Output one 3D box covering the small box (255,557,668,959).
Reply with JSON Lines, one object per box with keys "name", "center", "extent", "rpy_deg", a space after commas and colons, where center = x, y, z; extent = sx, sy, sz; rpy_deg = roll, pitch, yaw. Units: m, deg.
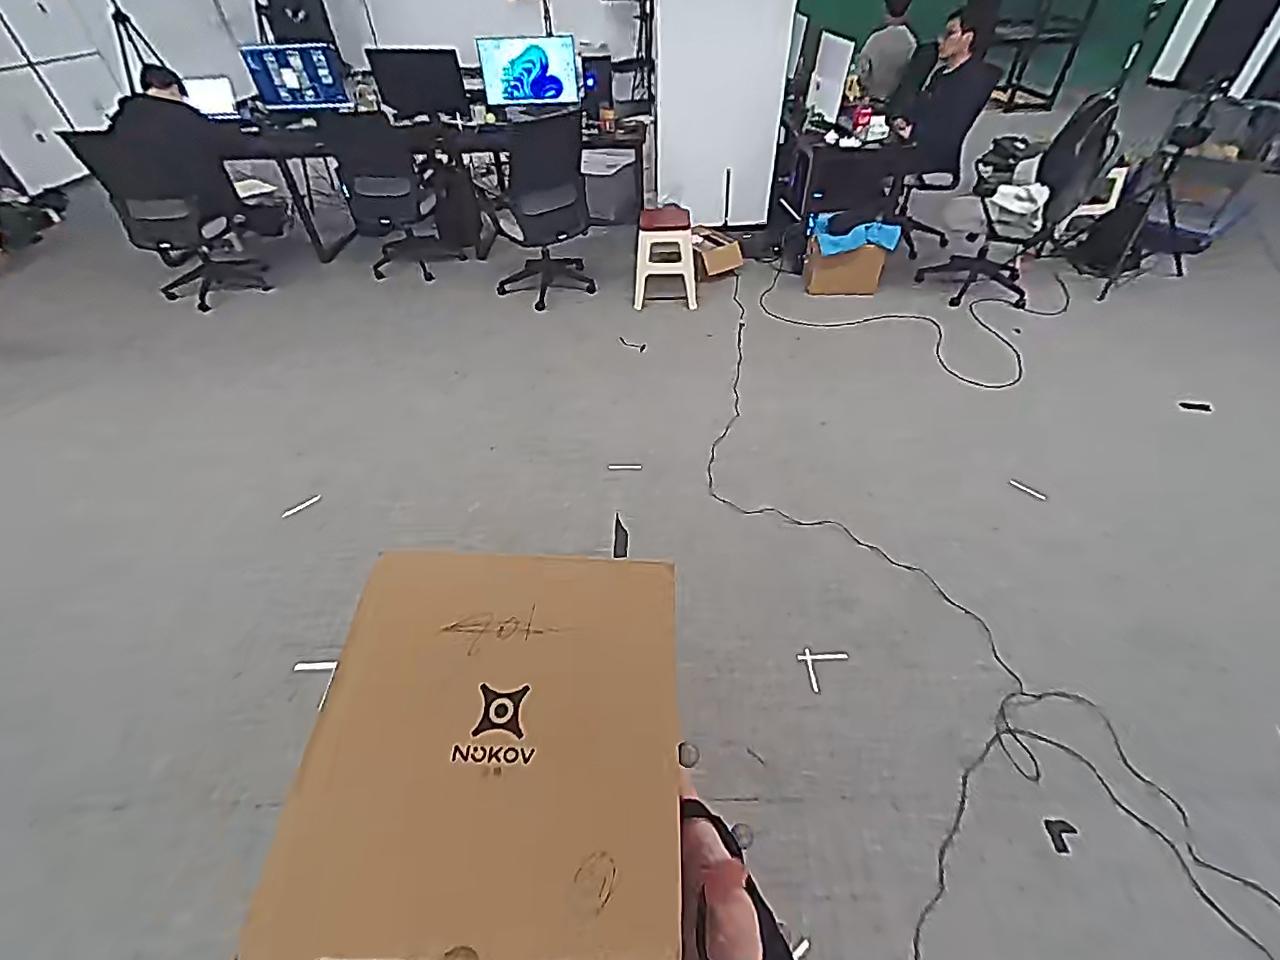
{"name": "small box", "center": [-0.071, 0.165, 0.324], "extent": [0.168, 0.176, 0.179], "rpy_deg": [2, 51, -2]}
